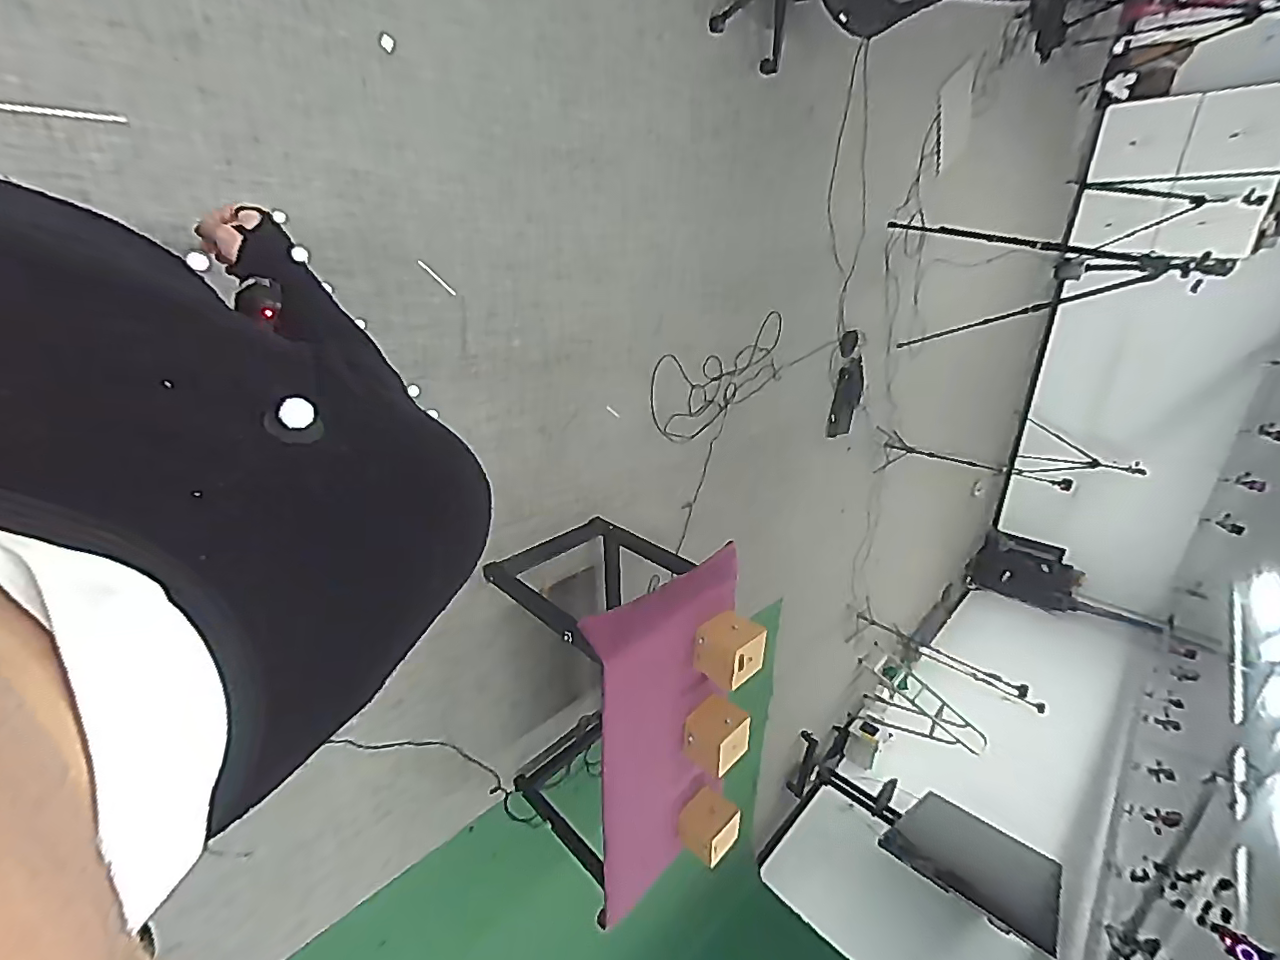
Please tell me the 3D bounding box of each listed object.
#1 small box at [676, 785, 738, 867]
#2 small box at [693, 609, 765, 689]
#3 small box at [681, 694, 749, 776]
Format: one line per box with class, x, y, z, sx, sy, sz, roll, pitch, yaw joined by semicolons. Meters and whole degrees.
small box;0.264;1.358;2.136;0.179;0.176;0.168;-22;120;-41
small box;0.299;0.570;1.845;0.179;0.176;0.168;-18;119;-41
small box;0.271;0.918;1.965;0.179;0.176;0.168;-20;119;-40
